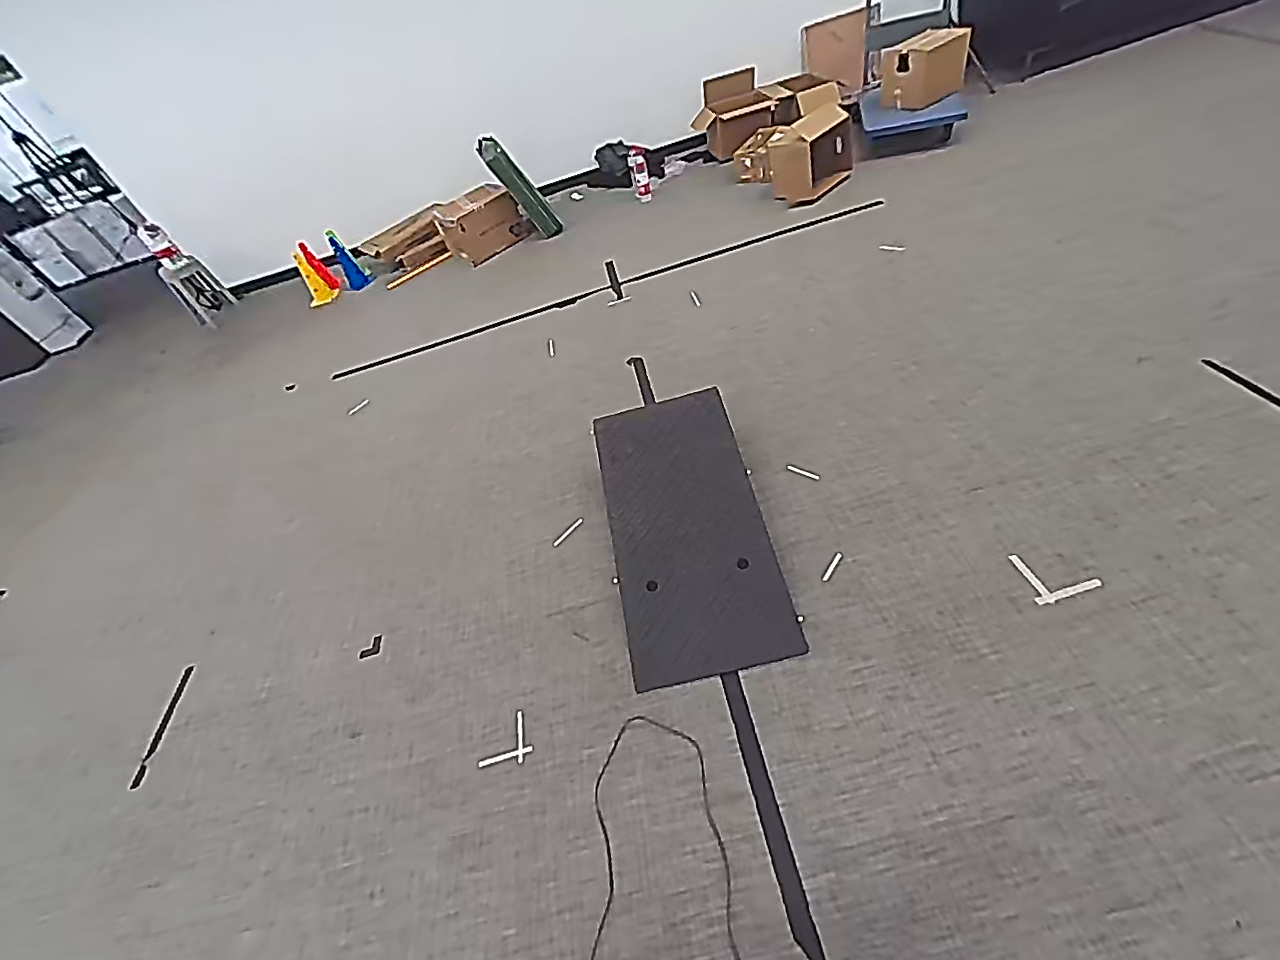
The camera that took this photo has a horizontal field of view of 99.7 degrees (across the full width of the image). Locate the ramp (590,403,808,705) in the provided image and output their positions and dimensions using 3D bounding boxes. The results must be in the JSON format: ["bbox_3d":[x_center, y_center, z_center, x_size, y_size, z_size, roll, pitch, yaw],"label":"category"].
[{"bbox_3d":[0.141,0.172,1.778,0.509,0.206,0.991,-17,44,2],"label":"ramp"}]
